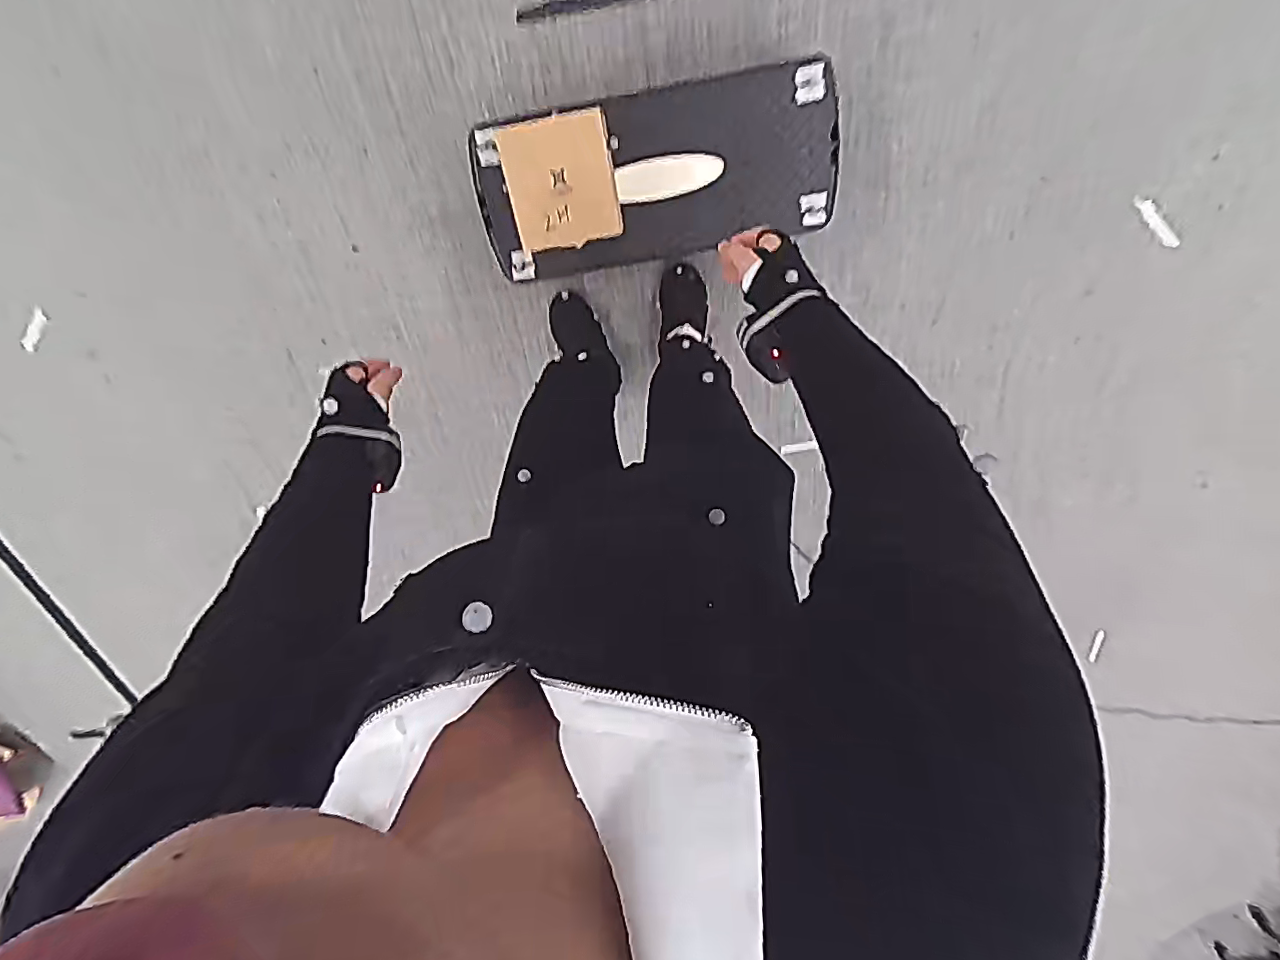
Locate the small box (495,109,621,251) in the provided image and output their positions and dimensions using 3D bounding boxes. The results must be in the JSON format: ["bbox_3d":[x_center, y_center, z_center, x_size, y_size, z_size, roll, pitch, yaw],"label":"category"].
[{"bbox_3d":[-0.128,-0.499,0.915,0.168,0.176,0.179,-9,118,4],"label":"small box"}]
